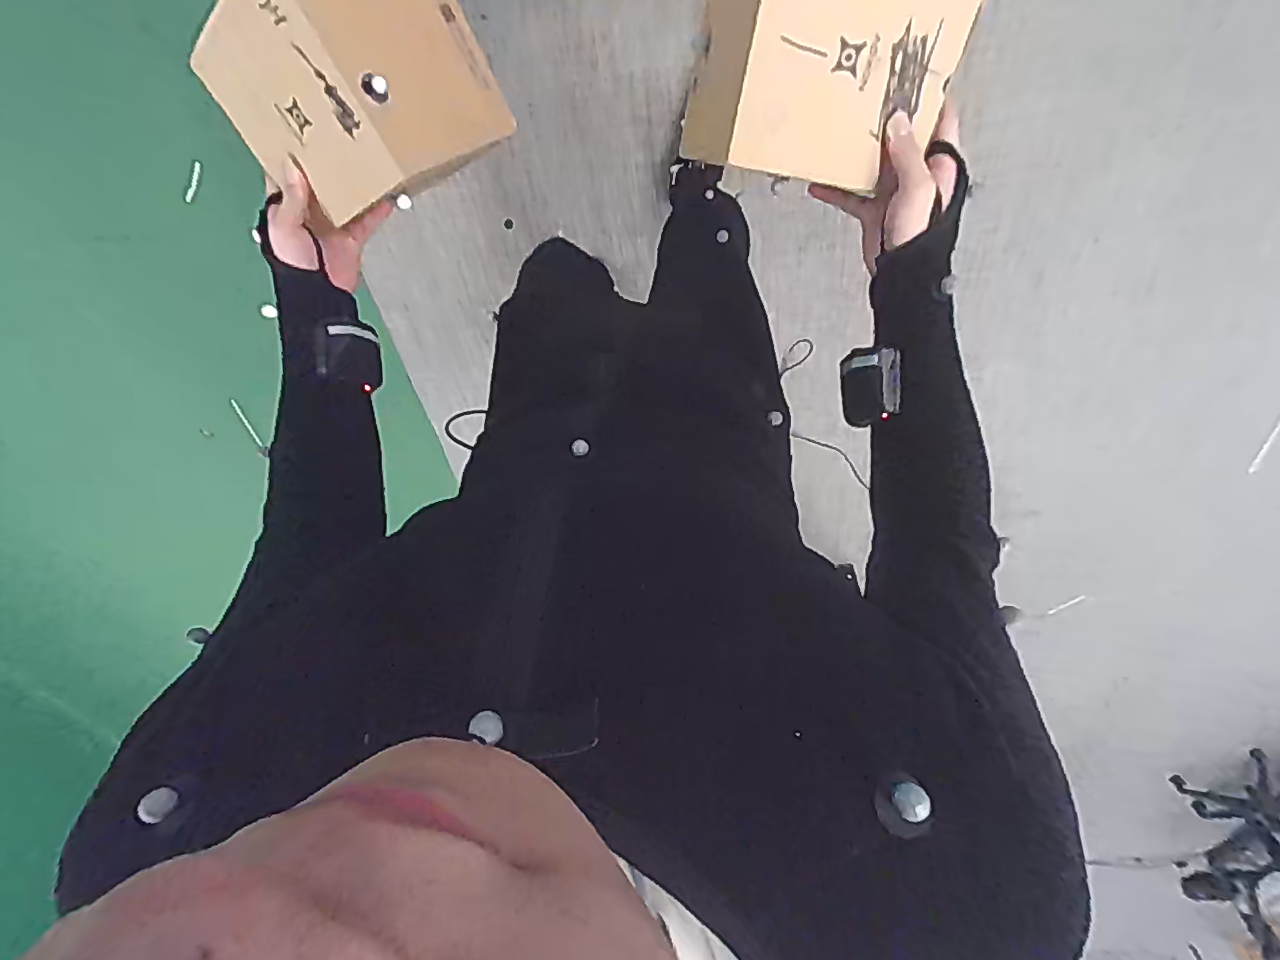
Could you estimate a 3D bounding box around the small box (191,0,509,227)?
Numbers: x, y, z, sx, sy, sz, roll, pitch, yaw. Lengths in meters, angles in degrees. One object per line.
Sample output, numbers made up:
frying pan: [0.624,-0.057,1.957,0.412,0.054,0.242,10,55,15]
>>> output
small box: [-0.262,-0.374,0.514,0.179,0.176,0.168,-2,129,38]

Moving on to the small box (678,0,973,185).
small box: [0.146,-0.370,0.473,0.179,0.176,0.168,3,121,-12]
